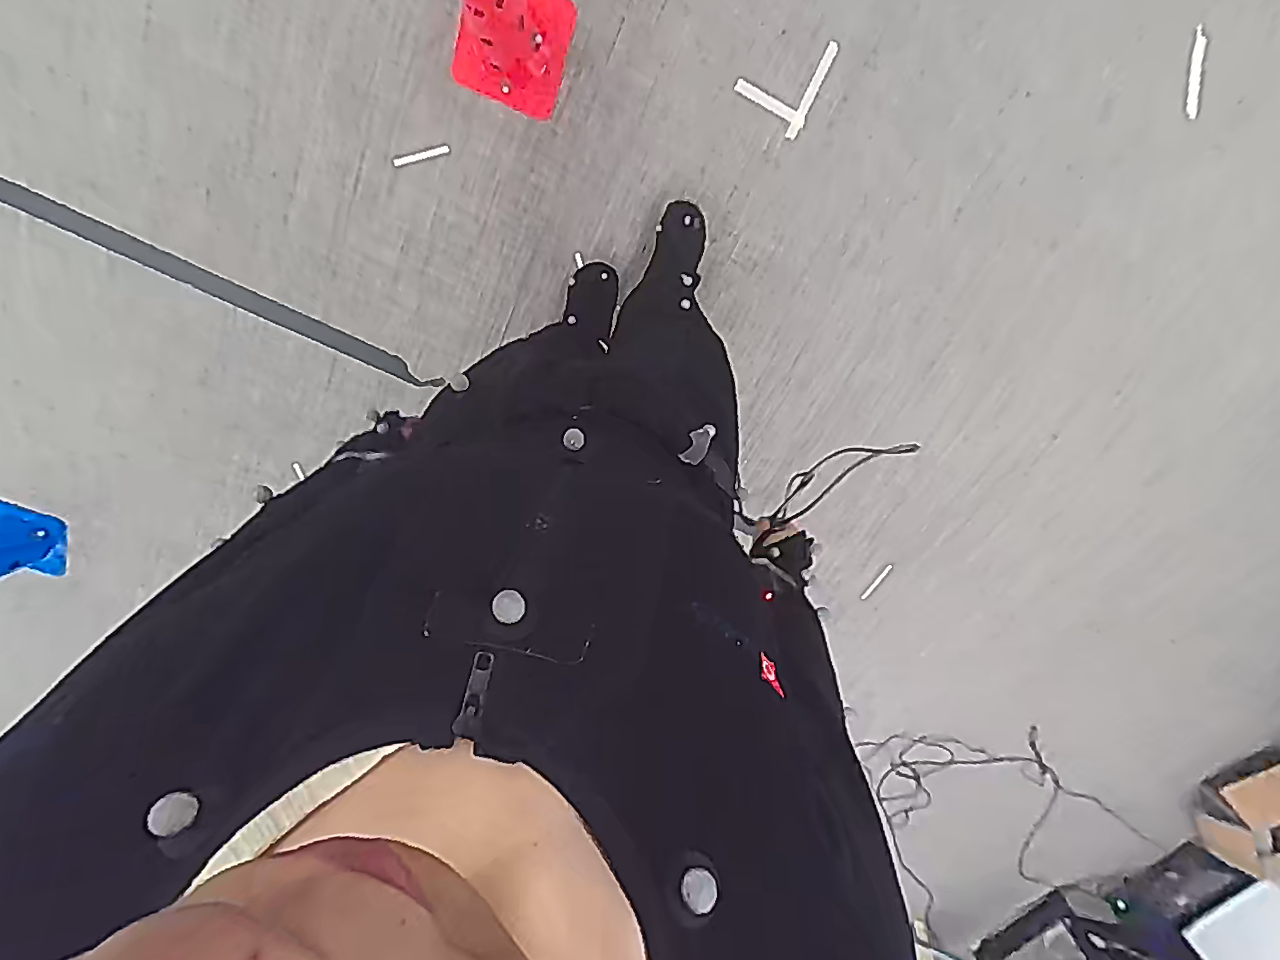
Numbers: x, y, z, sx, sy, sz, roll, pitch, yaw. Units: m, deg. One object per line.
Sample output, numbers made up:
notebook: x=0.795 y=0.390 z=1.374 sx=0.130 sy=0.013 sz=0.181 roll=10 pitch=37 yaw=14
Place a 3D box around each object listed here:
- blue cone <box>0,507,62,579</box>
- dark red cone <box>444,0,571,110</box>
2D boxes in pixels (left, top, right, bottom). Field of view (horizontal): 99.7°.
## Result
blue cone: x=-1.629 y=0.238 z=1.281 sx=0.193 sy=0.380 sz=0.192 roll=24 pitch=114 yaw=-14
dark red cone: x=-0.231 y=-0.736 z=0.835 sx=0.202 sy=0.394 sz=0.201 roll=17 pitch=116 yaw=-11
